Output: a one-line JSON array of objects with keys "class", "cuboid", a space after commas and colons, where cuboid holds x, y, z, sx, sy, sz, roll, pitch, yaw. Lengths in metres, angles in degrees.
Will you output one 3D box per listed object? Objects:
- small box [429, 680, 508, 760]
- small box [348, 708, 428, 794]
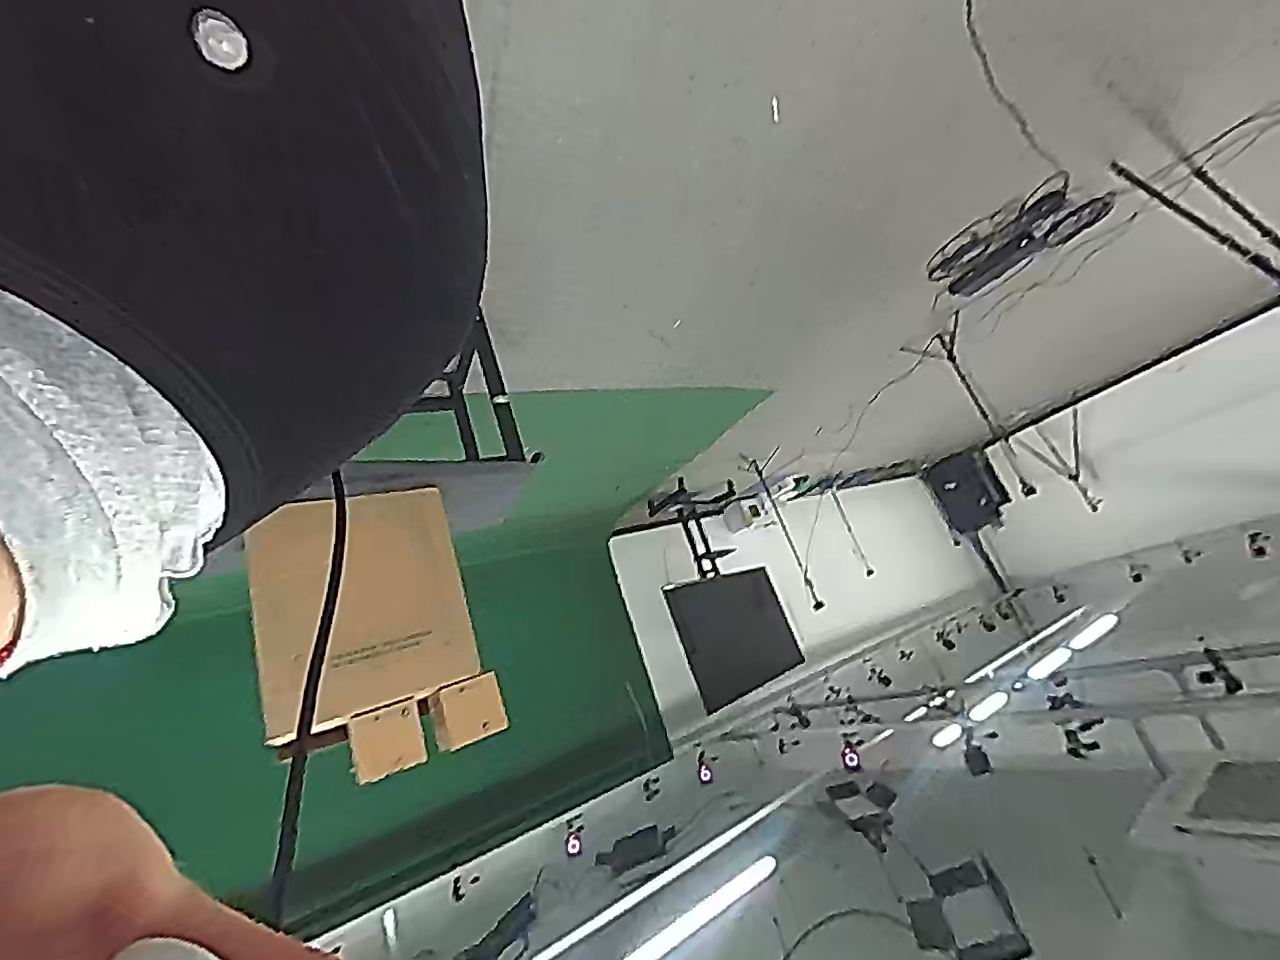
[{"class": "small box", "cuboid": [-0.520, 0.717, 1.623, 0.168, 0.176, 0.179, -11, 161, -37]}, {"class": "small box", "cuboid": [-0.704, 0.748, 1.501, 0.168, 0.176, 0.179, -8, 159, -34]}]
